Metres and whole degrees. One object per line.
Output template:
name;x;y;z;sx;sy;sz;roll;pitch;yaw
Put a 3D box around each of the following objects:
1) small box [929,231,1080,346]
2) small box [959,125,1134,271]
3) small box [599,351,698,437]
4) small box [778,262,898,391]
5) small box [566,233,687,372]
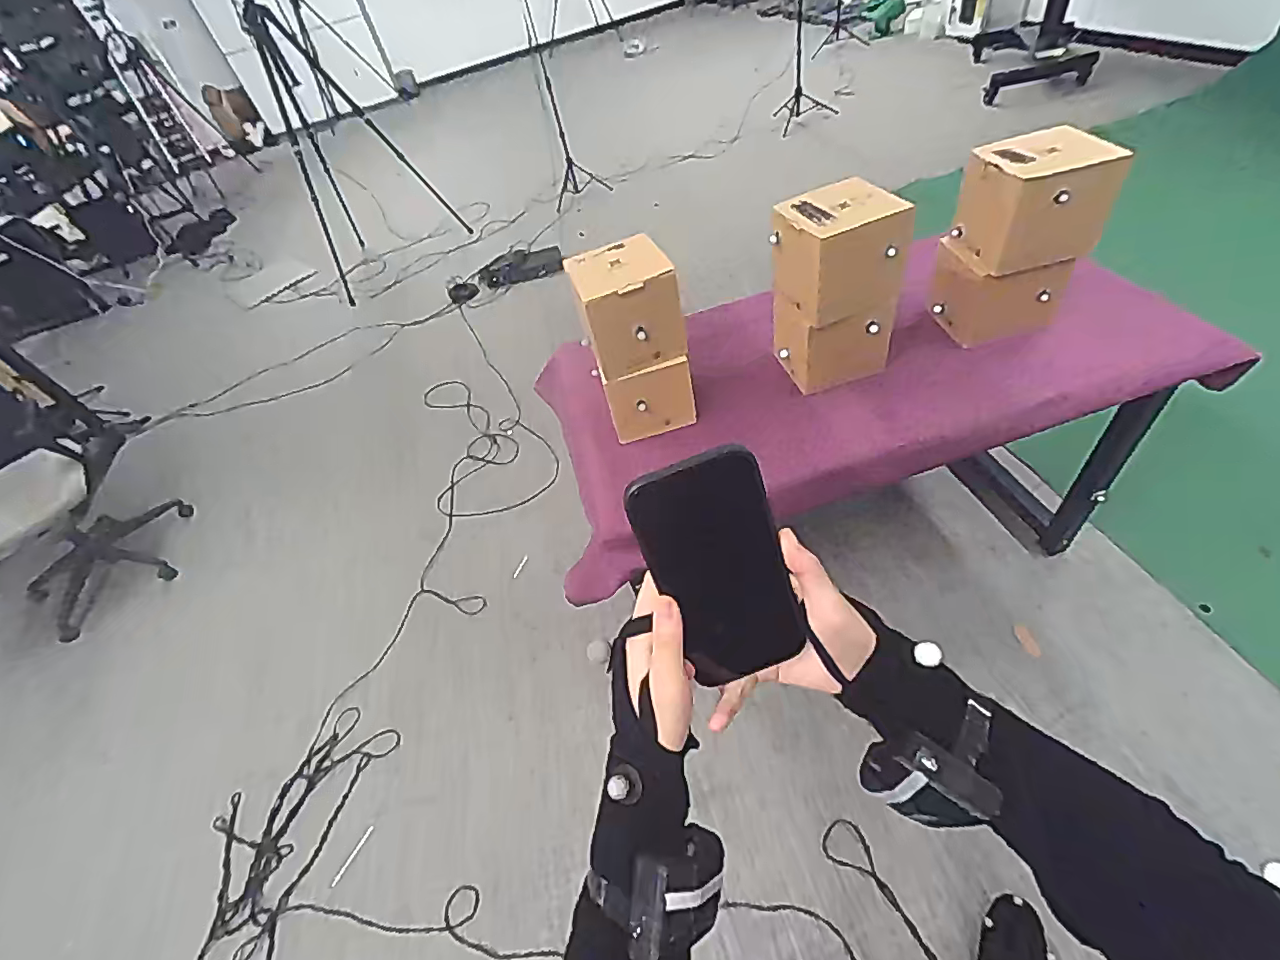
small box;0.720;-0.399;1.092;0.179;0.176;0.168;-13;47;5
small box;0.698;-0.496;0.962;0.179;0.176;0.168;-13;47;4
small box;0.014;-0.208;1.118;0.168;0.176;0.179;-17;47;1
small box;0.391;-0.309;1.102;0.179;0.176;0.168;-17;47;0
small box;-0.021;-0.321;1.004;0.168;0.176;0.179;-20;48;-3
